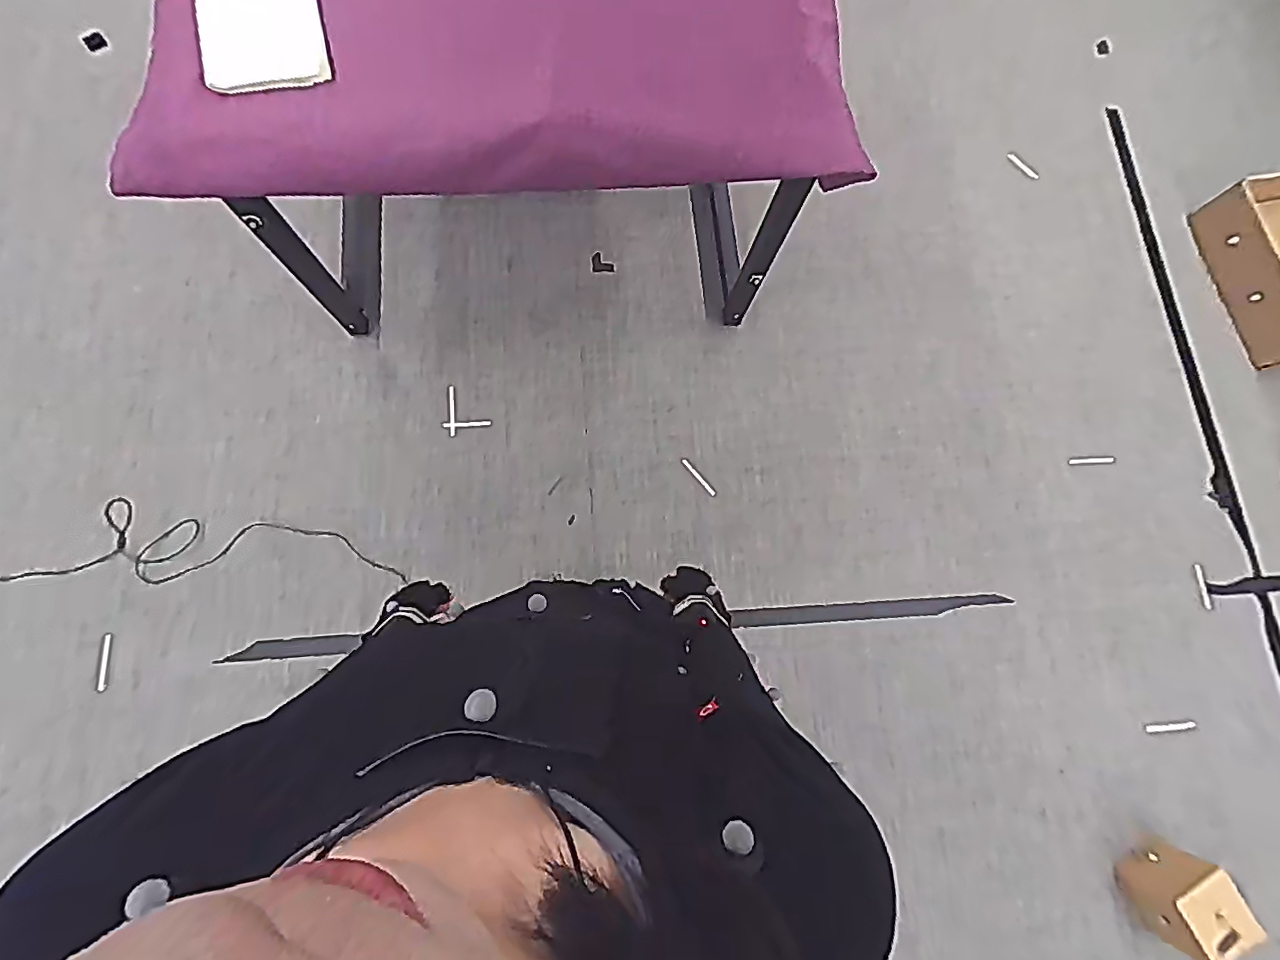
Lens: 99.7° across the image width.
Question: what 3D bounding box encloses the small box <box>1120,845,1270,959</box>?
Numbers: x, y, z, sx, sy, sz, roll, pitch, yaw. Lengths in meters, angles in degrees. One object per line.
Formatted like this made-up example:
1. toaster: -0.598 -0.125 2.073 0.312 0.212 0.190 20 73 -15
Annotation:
1. small box: 1.412 1.093 1.388 0.168 0.176 0.179 -26 80 -10
